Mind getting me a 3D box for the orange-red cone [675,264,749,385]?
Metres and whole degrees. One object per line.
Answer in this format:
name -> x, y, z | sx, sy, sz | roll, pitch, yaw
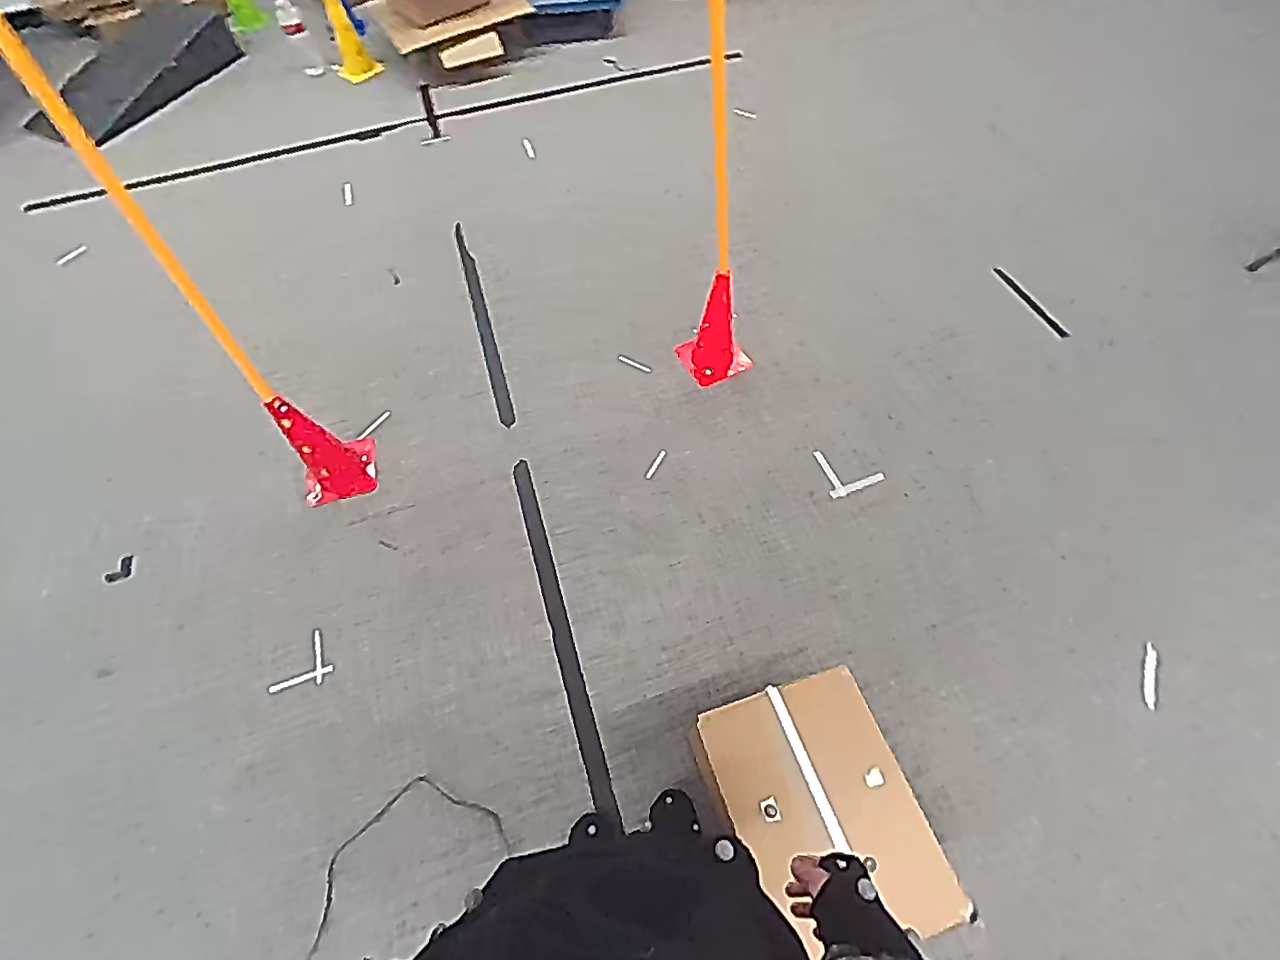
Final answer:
orange-red cone -> 0.233, -0.495, 1.635 | 0.199, 0.360, 0.198 | -25, 64, -13
